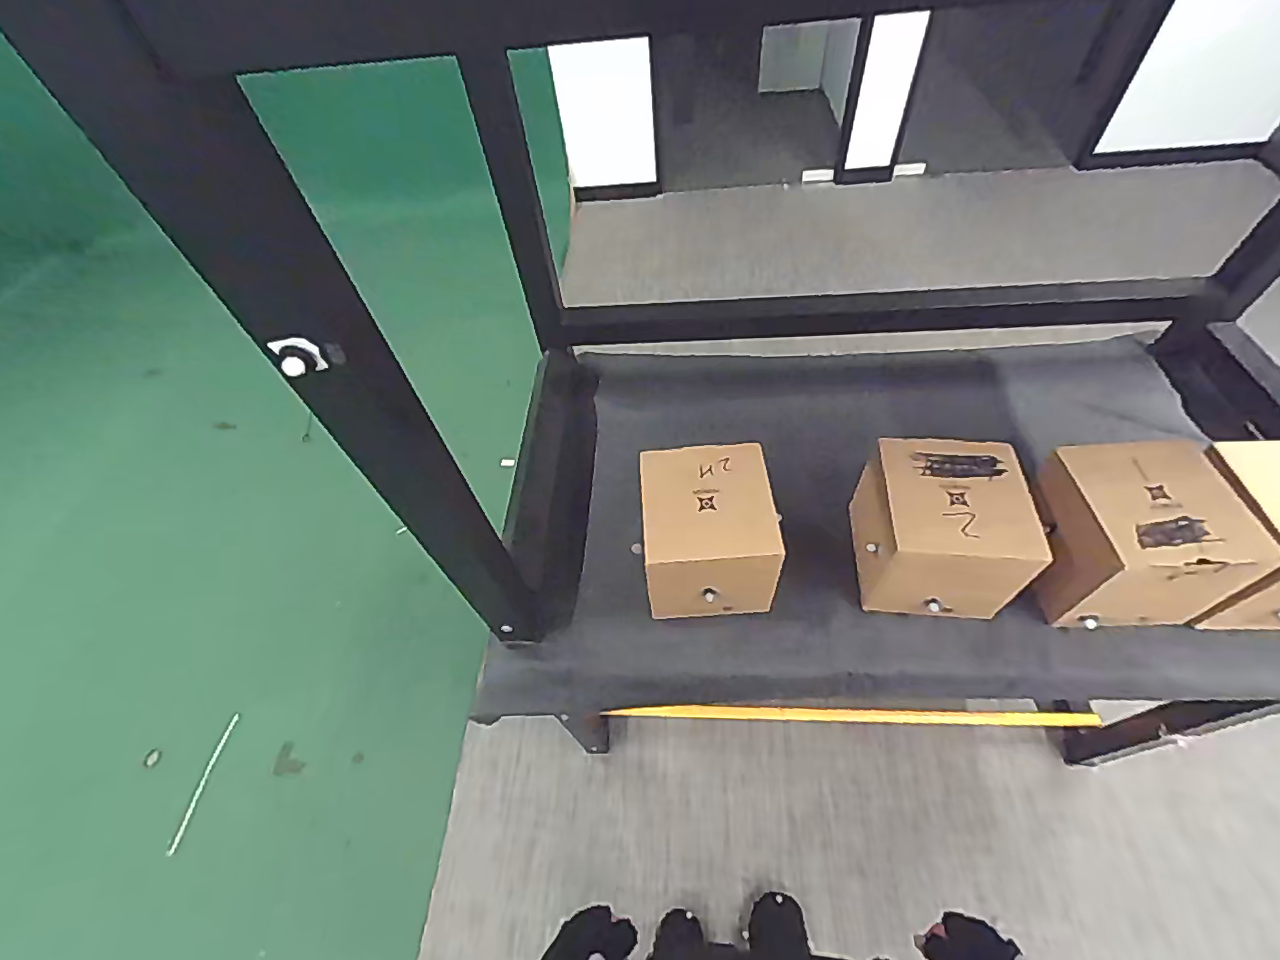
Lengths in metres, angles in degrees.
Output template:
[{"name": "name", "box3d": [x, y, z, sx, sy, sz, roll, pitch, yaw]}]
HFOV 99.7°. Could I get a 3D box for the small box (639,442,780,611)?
[{"name": "small box", "box3d": [0.088, 0.071, 0.745, 0.168, 0.176, 0.179, -4, 52, 2]}]
